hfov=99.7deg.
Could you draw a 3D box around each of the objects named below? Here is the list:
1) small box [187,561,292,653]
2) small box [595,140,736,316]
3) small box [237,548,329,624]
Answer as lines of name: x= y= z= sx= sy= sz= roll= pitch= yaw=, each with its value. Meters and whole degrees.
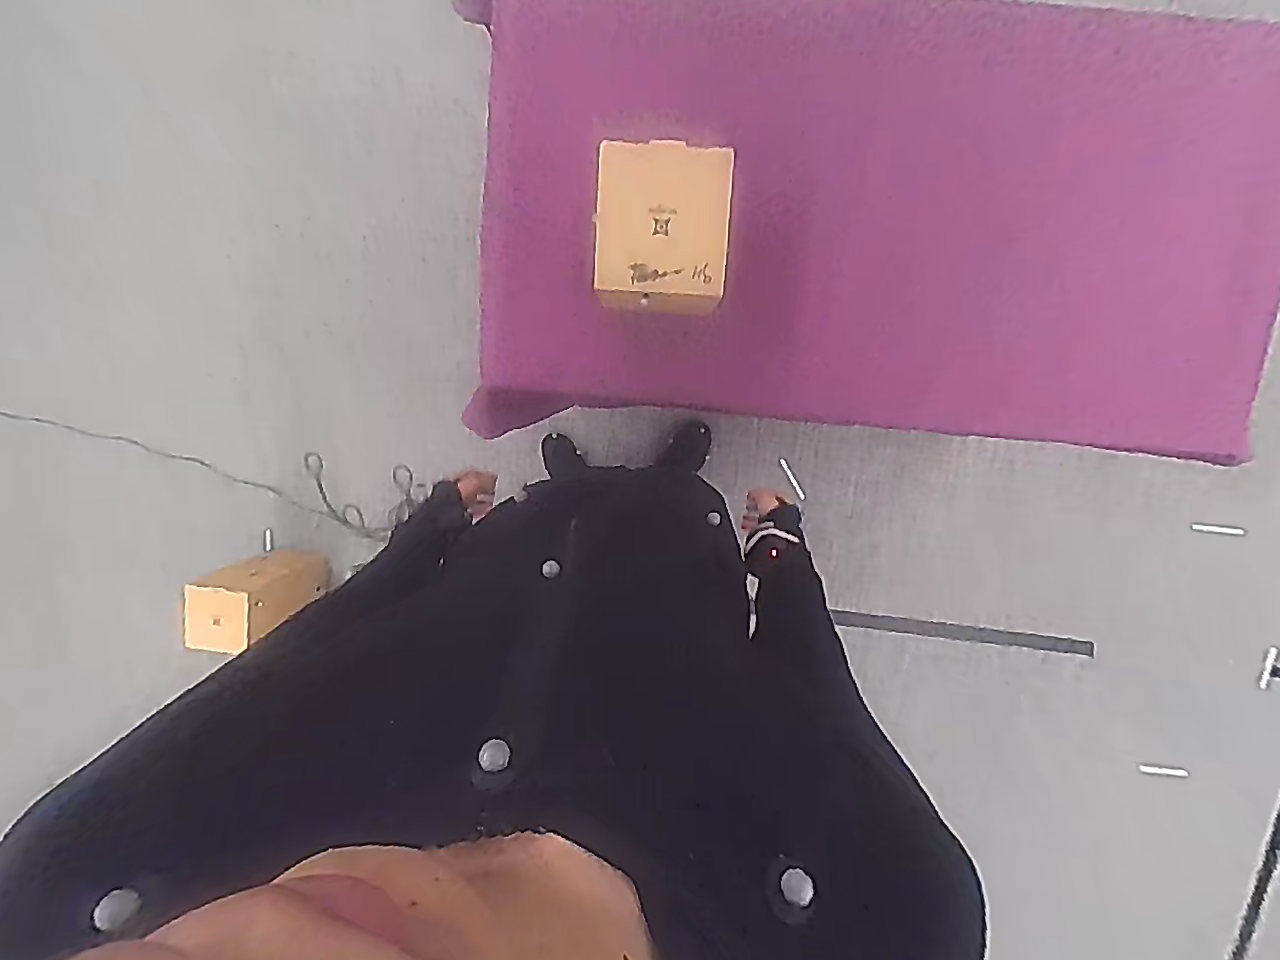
small box: x=-1.072 y=0.337 z=1.458 sx=0.168 sy=0.176 sz=0.179 roll=8 pitch=100 yaw=0
small box: x=0.032 y=-0.335 z=0.748 sx=0.168 sy=0.176 sz=0.179 roll=4 pitch=99 yaw=1
small box: x=-1.069 y=0.310 z=1.618 sx=0.179 sy=0.176 sz=0.168 roll=7 pitch=100 yaw=0
